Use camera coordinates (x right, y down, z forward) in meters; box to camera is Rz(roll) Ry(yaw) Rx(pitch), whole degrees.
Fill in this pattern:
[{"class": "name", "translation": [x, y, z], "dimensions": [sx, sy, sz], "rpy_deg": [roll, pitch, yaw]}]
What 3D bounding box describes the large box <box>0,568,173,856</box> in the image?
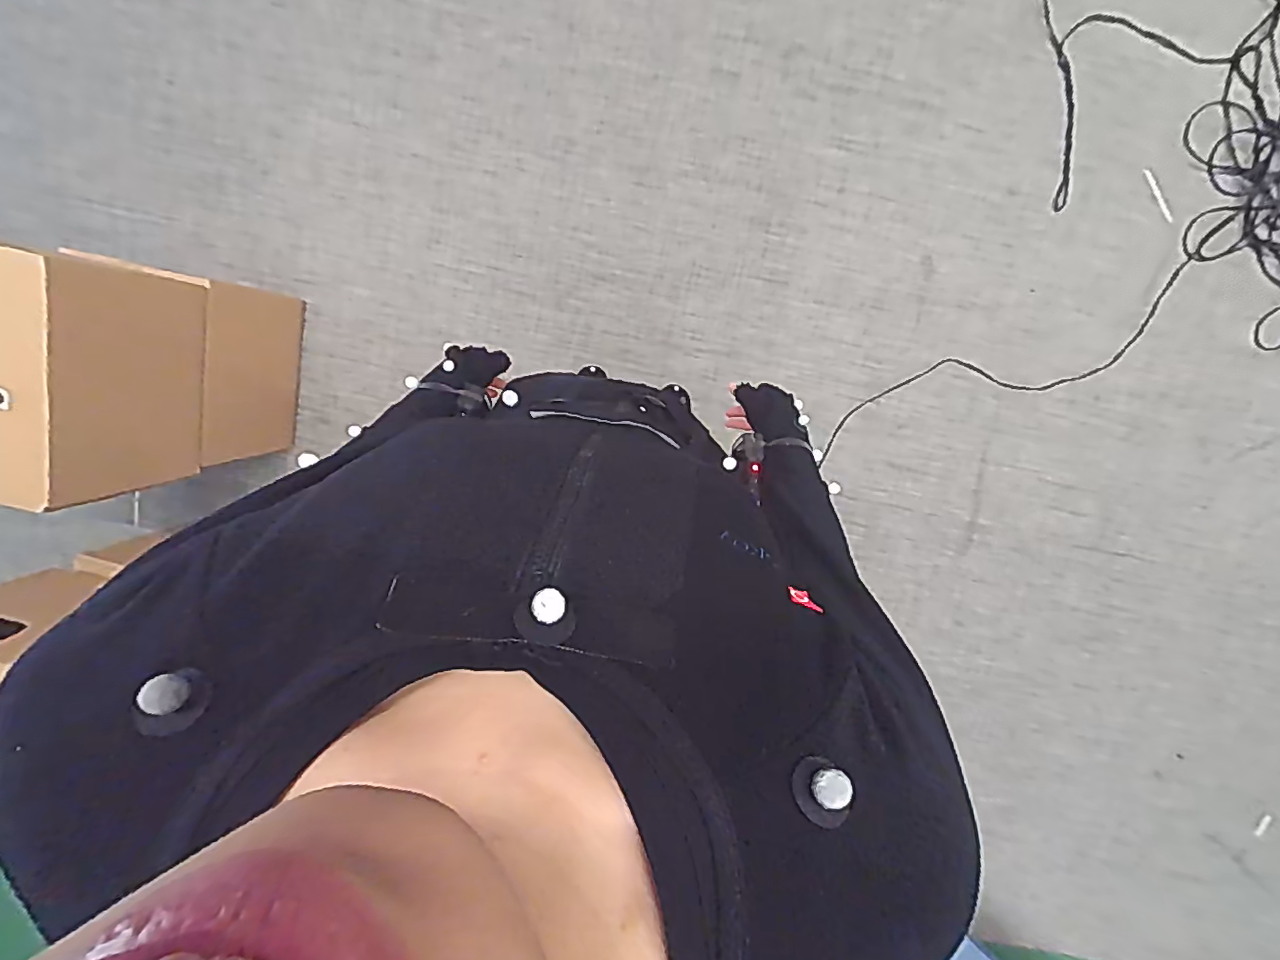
[{"class": "large box", "translation": [-1.247, 0.447, 1.113], "dimensions": [0.320, 0.320, 0.408], "rpy_deg": [13, 100, 2]}]
